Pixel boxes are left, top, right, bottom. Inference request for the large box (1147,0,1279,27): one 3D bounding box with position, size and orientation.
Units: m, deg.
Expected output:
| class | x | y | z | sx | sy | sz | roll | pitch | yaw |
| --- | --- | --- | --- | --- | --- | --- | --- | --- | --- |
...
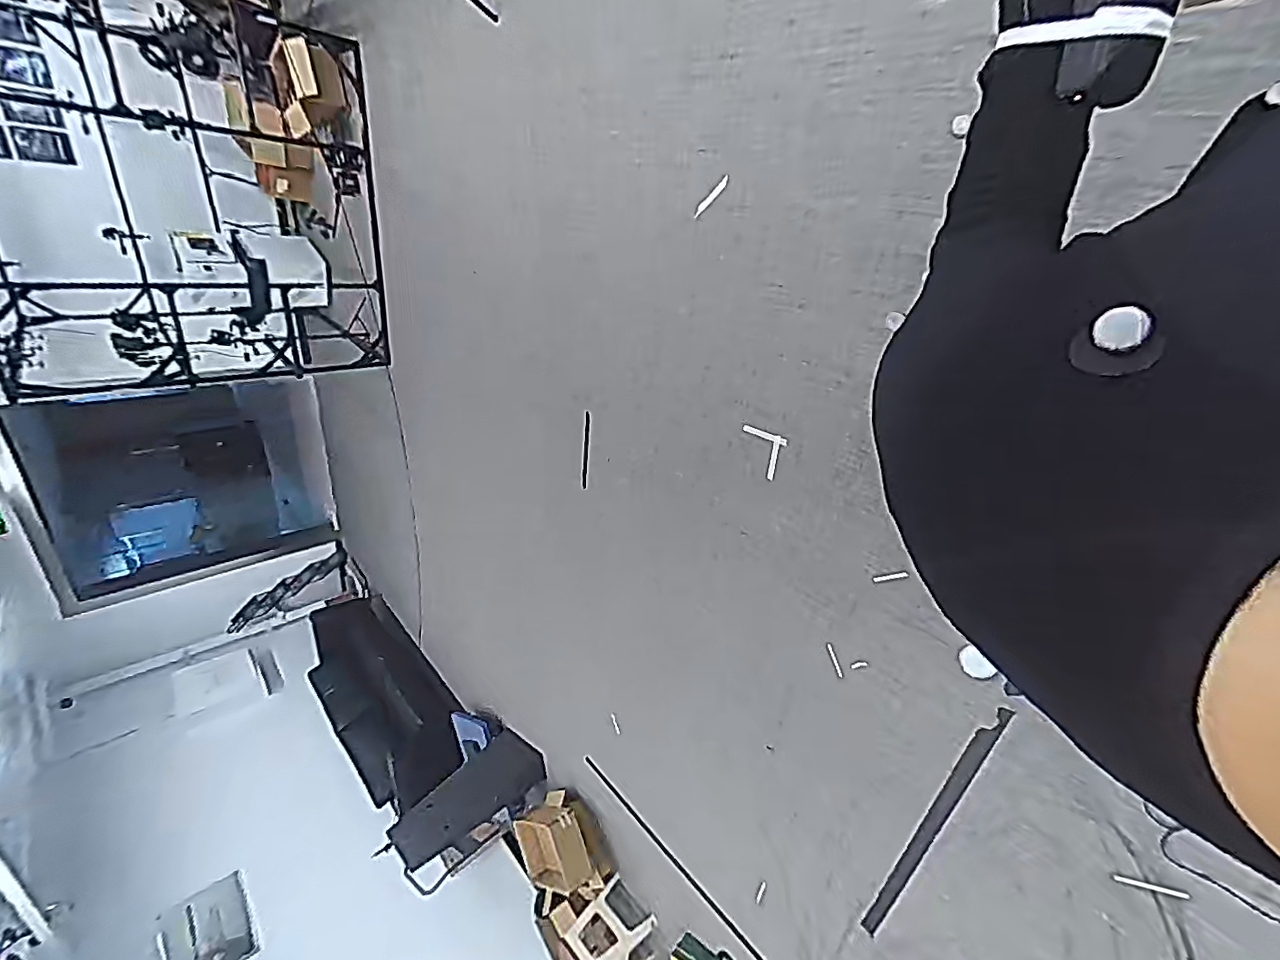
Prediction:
| class | x | y | z | sx | sy | sz | roll | pitch | yaw |
| --- | --- | --- | --- | --- | --- | --- | --- | --- | --- |
| large box | 0.521 | -0.448 | 0.223 | 0.408 | 0.320 | 0.320 | 18 | 129 | 40 |
